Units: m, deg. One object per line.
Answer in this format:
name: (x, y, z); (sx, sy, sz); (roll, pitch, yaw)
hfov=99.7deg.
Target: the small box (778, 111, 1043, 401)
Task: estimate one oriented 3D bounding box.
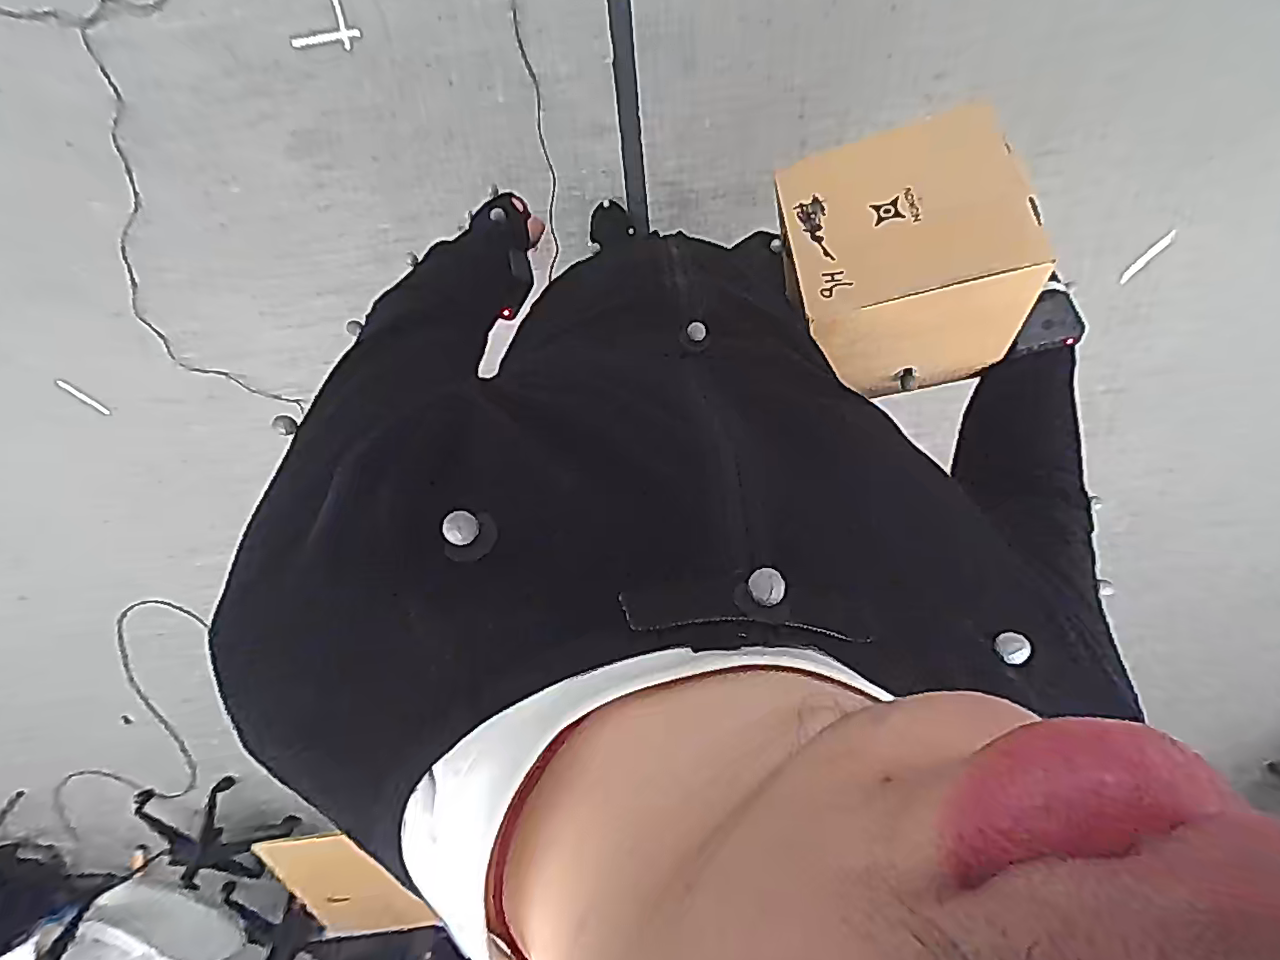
small box: (0.238, -0.198, 0.524); (0.179, 0.168, 0.176); (-11, 158, 15)
